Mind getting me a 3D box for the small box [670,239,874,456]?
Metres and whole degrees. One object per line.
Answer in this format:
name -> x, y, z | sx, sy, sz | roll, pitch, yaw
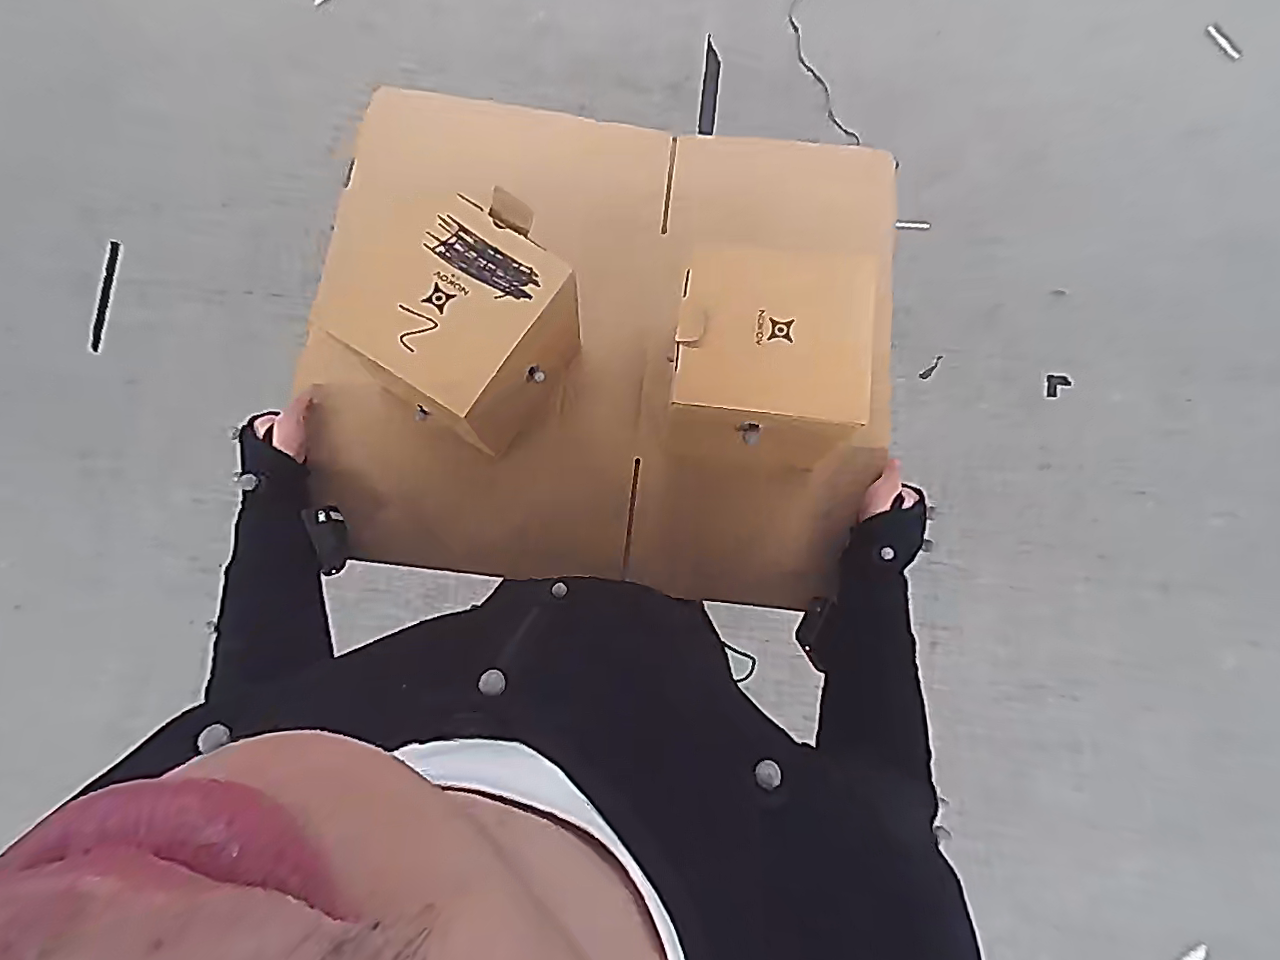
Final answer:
small box -> 0.129, -0.128, 0.584 | 0.179, 0.176, 0.168 | 7, 78, 4
